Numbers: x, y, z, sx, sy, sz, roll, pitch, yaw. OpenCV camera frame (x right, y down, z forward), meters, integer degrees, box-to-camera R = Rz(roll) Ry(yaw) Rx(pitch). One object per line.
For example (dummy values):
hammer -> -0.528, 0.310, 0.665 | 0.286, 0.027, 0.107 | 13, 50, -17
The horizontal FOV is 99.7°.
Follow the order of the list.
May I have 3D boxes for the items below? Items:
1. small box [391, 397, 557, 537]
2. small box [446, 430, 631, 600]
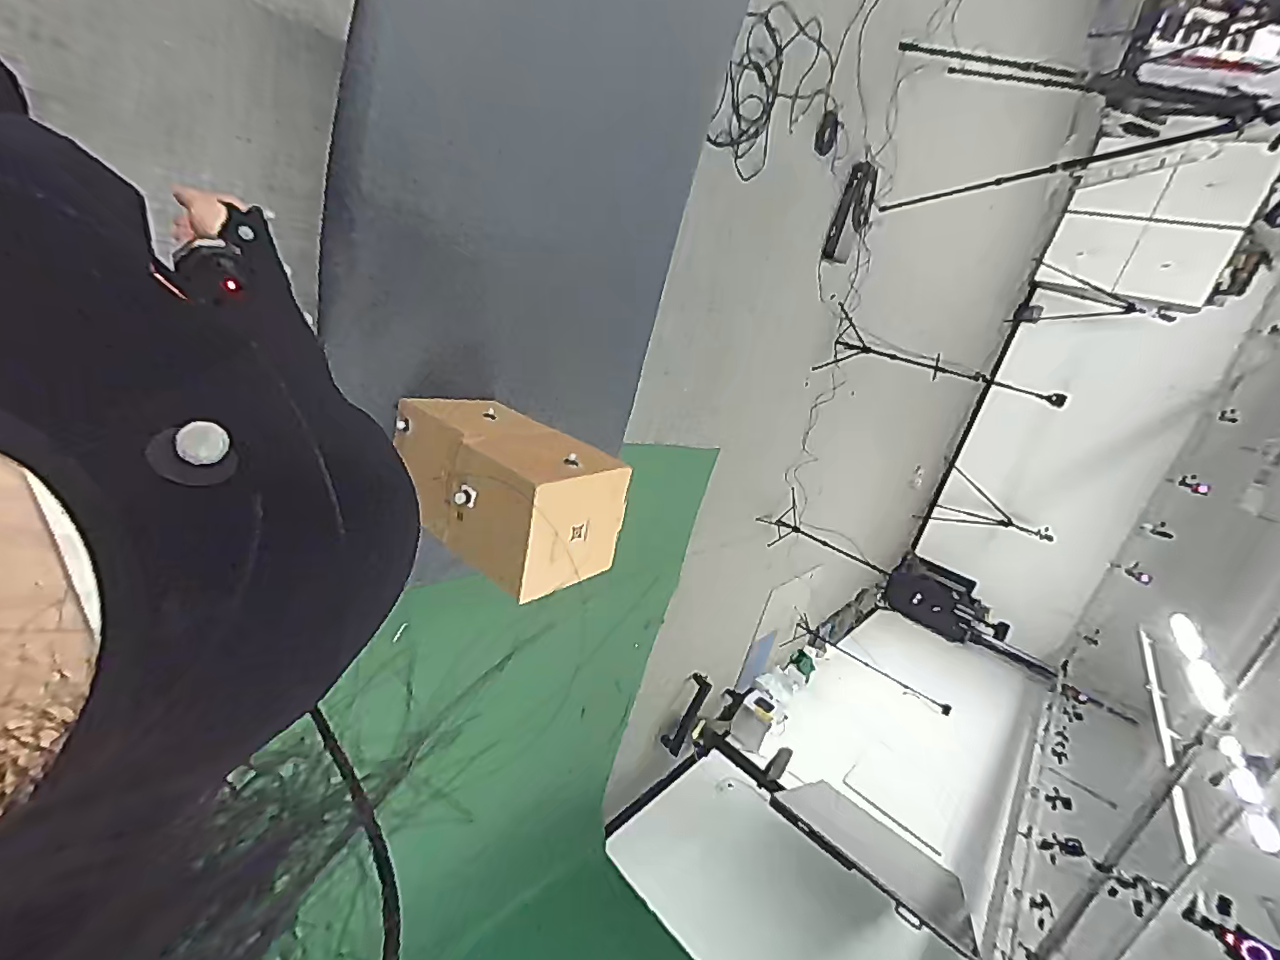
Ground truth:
small box -> -0.262, -0.027, 0.844 | 0.179, 0.176, 0.168 | -9, 119, -53
small box -> -0.142, 0.034, 0.752 | 0.179, 0.176, 0.168 | -13, 121, -50
